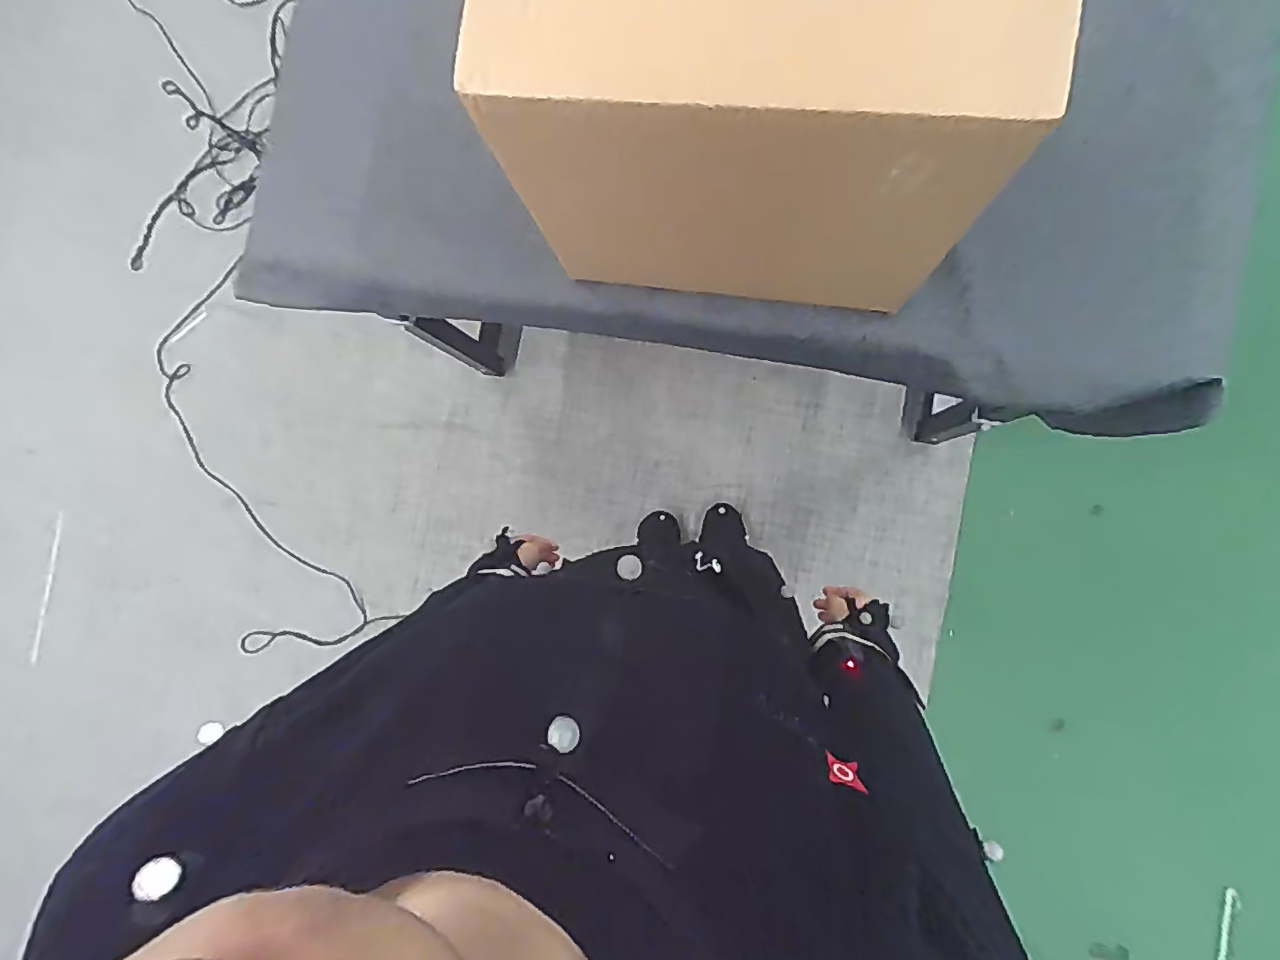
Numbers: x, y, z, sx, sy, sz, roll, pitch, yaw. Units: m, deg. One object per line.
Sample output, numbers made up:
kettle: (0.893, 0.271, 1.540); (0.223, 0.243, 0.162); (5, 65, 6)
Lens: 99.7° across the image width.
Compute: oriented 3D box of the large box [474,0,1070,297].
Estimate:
large box: (0.108, -0.398, 0.523); (0.408, 0.320, 0.320); (8, 88, 7)
